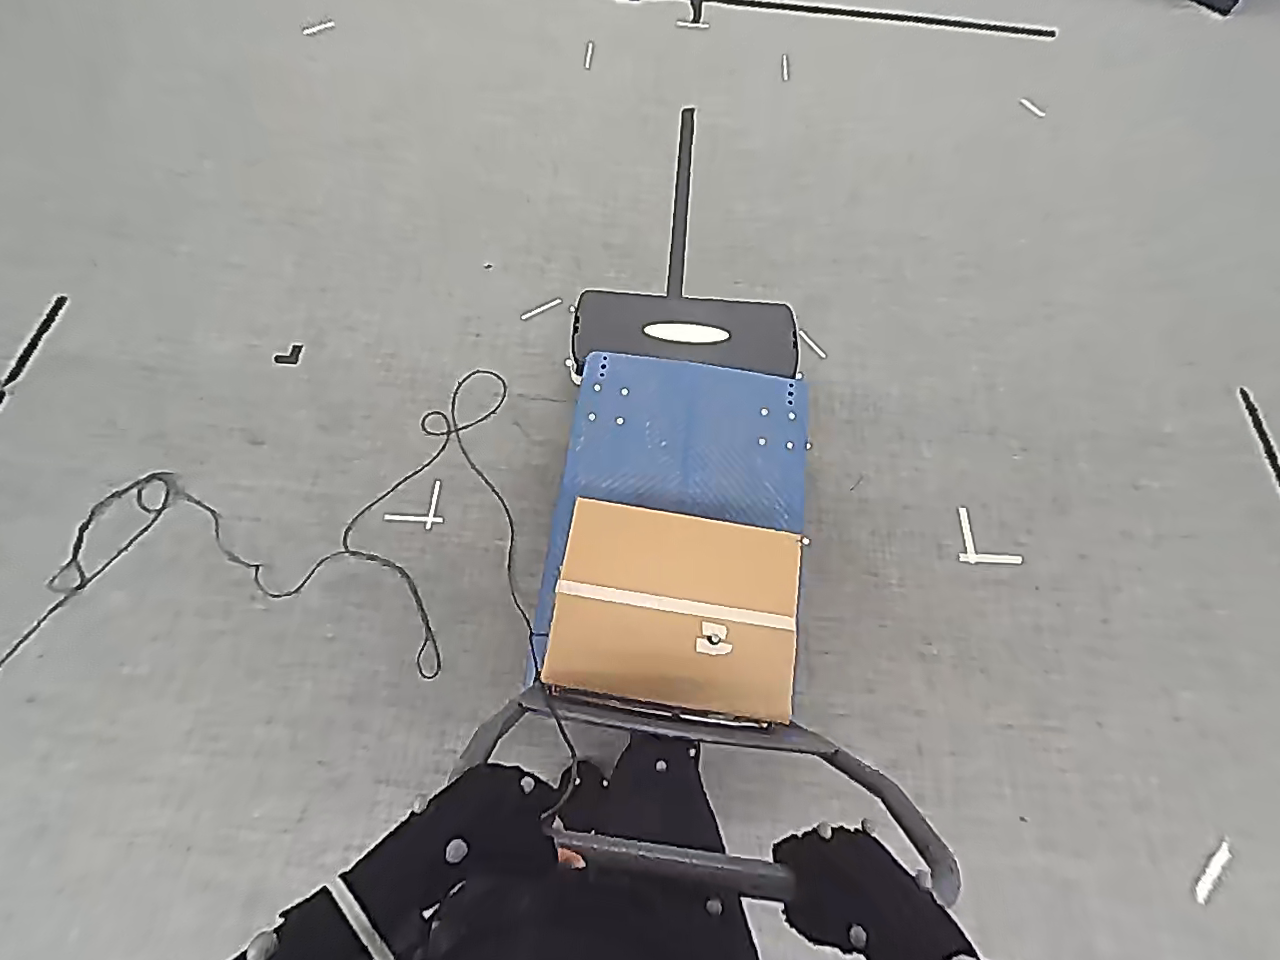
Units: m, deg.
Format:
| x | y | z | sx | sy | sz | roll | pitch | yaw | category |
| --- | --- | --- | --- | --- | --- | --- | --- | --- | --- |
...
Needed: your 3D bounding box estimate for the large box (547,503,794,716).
| x | y | z | sx | sy | sz | roll | pitch | yaw | category |
| --- | --- | --- | --- | --- | --- | --- | --- | --- | --- |
| 0.052 | 0.260 | 1.071 | 0.408 | 0.320 | 0.320 | 10 | 73 | -1 | large box |
